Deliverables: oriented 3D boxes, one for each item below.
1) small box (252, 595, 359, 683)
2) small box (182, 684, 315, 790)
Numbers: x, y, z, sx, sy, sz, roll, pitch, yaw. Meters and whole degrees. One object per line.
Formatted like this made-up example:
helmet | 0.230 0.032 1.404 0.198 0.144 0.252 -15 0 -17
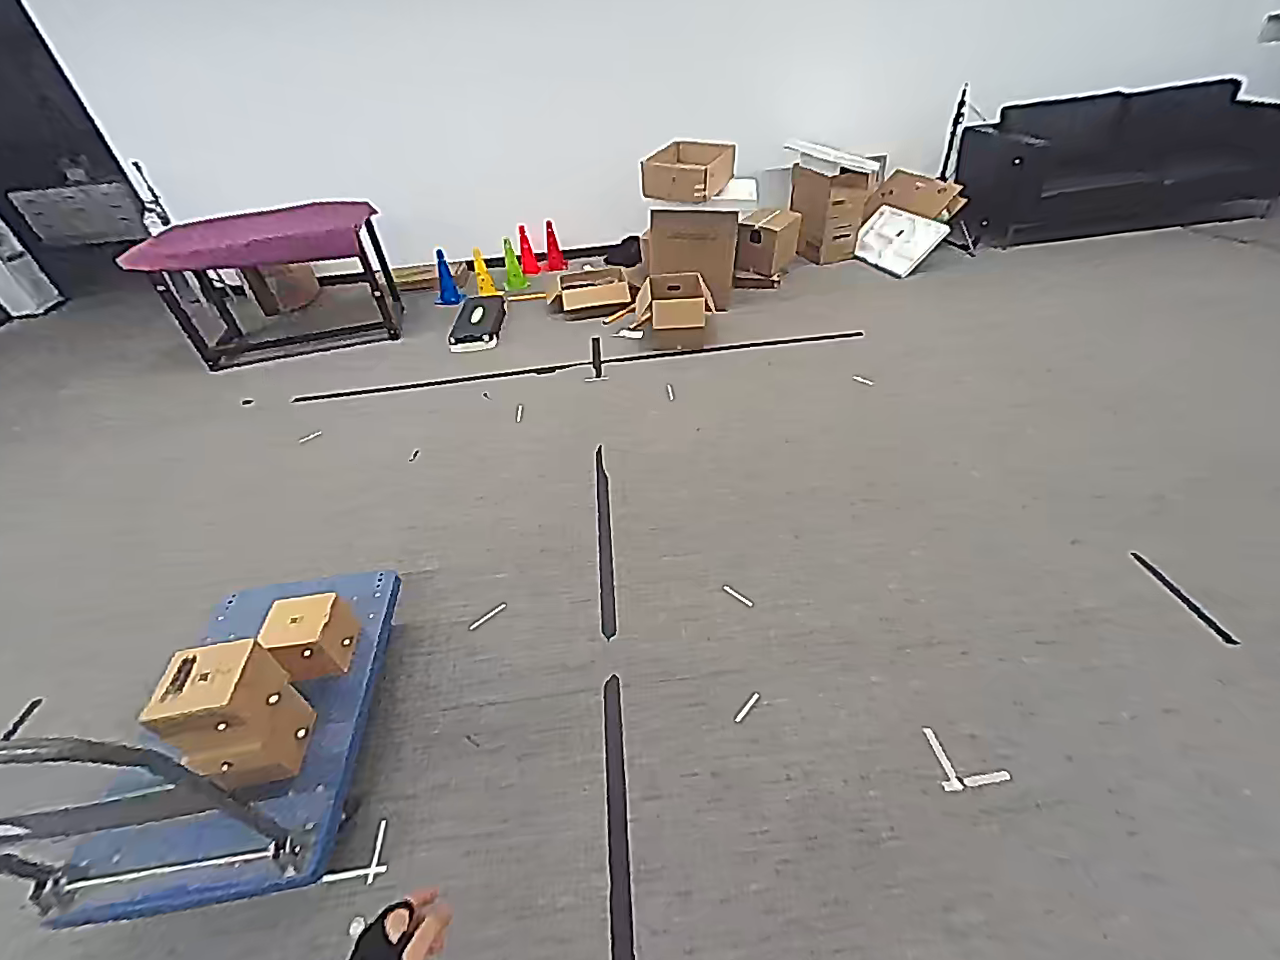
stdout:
small box | -0.931 0.451 1.521 0.179 0.176 0.168 -8 40 -3
small box | -0.936 0.626 1.312 0.179 0.176 0.168 -8 41 -4
